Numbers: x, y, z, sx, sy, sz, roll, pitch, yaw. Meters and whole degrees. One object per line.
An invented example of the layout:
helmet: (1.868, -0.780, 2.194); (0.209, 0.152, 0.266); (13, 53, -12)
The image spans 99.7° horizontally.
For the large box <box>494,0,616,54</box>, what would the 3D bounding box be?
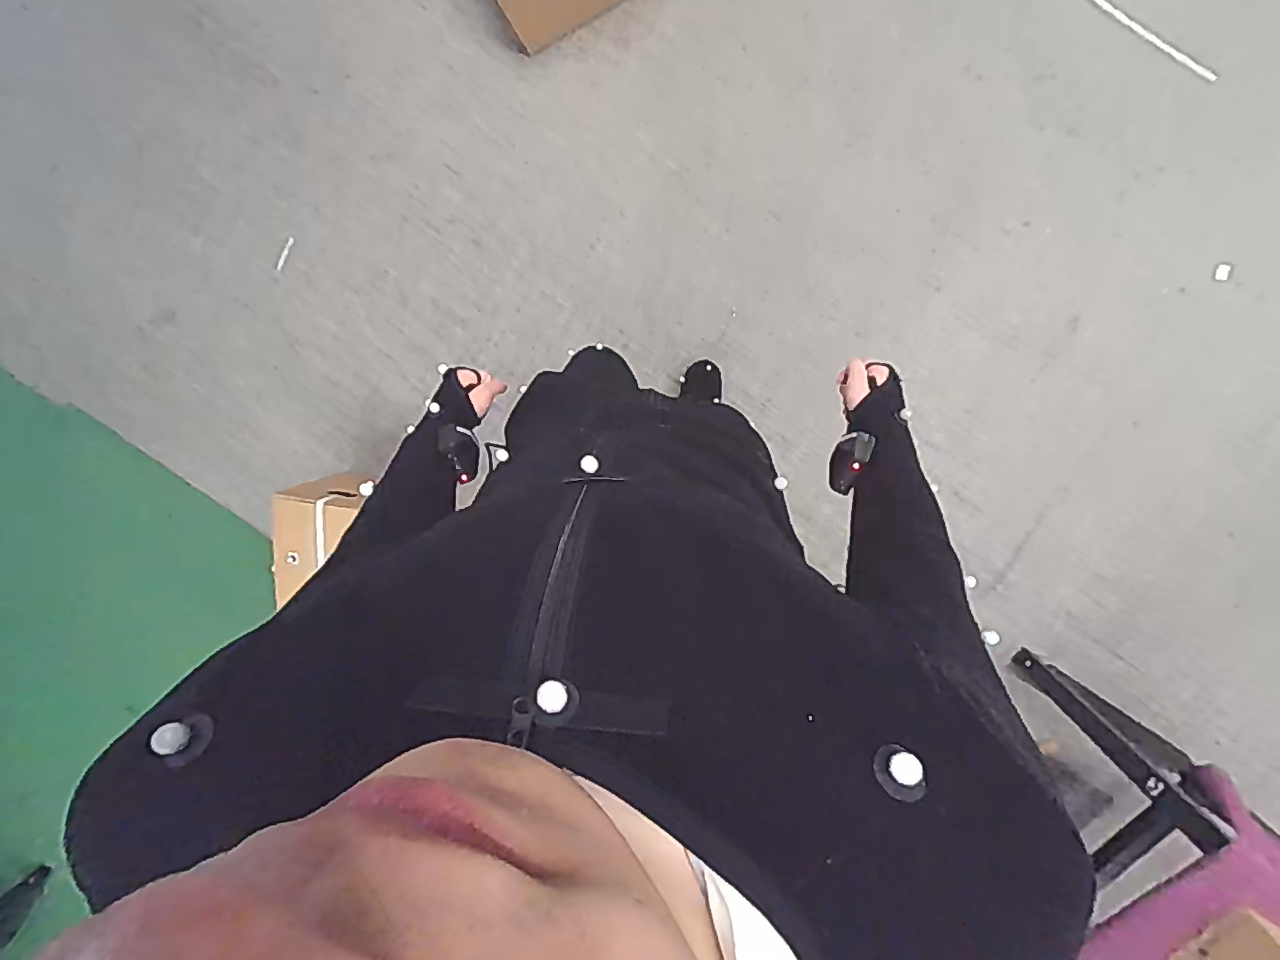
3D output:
large box: (-0.195, -1.299, 1.225); (0.408, 0.320, 0.320); (-22, 97, 13)

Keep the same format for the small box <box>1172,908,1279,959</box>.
small box: (1.022, 0.830, 0.844); (0.179, 0.176, 0.168); (32, 105, -2)
